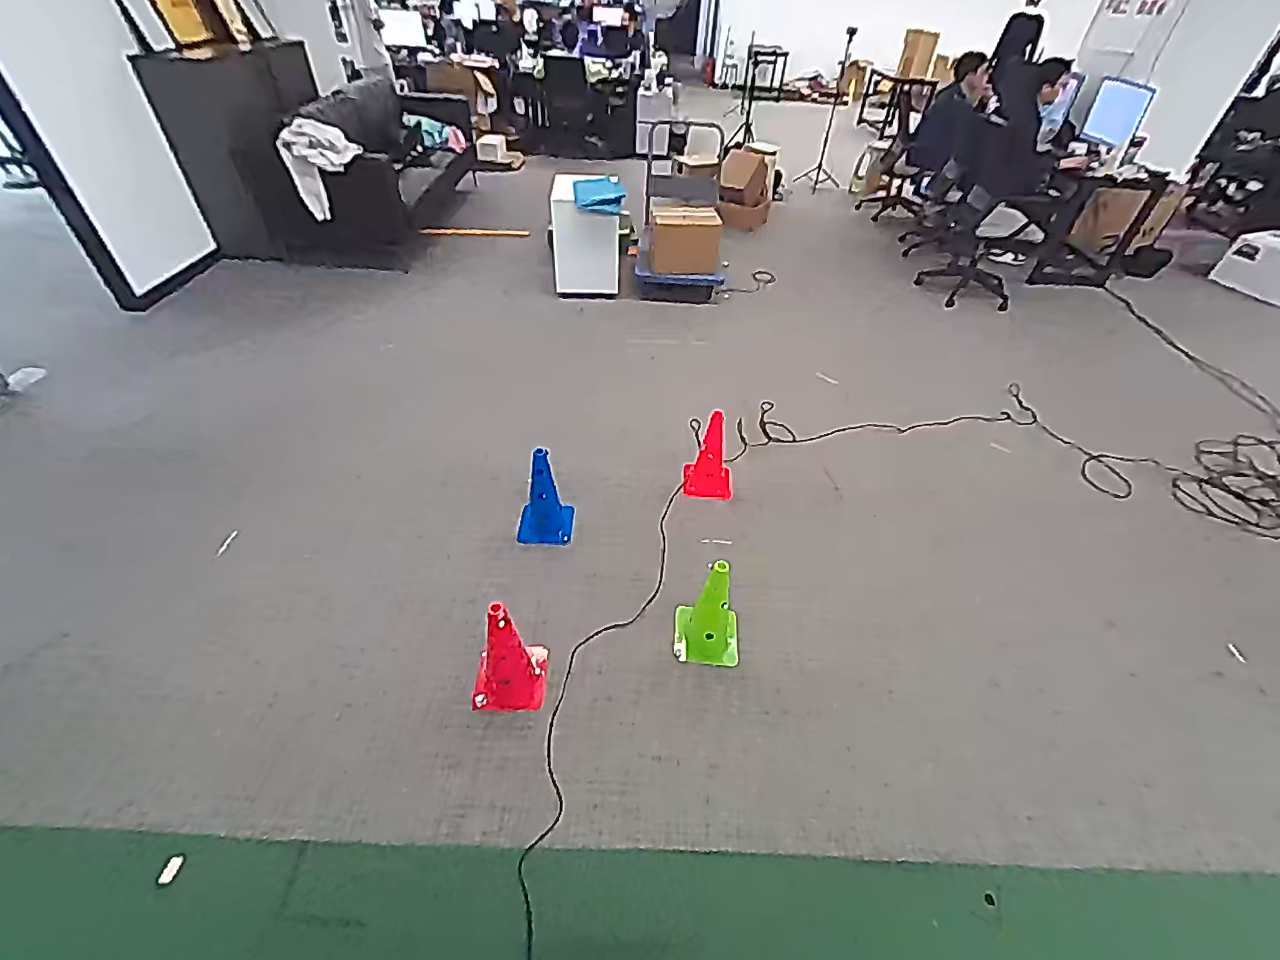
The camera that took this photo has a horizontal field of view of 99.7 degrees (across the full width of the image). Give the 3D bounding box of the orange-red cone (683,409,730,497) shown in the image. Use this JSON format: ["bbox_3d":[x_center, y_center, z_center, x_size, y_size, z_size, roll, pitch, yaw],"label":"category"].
[{"bbox_3d":[0.285,-0.126,2.155,0.198,0.360,0.199,5,44,4],"label":"orange-red cone"}]

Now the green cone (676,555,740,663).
[{"bbox_3d":[0.225,0.361,1.613,0.200,0.368,0.202,5,41,1],"label":"green cone"}]
